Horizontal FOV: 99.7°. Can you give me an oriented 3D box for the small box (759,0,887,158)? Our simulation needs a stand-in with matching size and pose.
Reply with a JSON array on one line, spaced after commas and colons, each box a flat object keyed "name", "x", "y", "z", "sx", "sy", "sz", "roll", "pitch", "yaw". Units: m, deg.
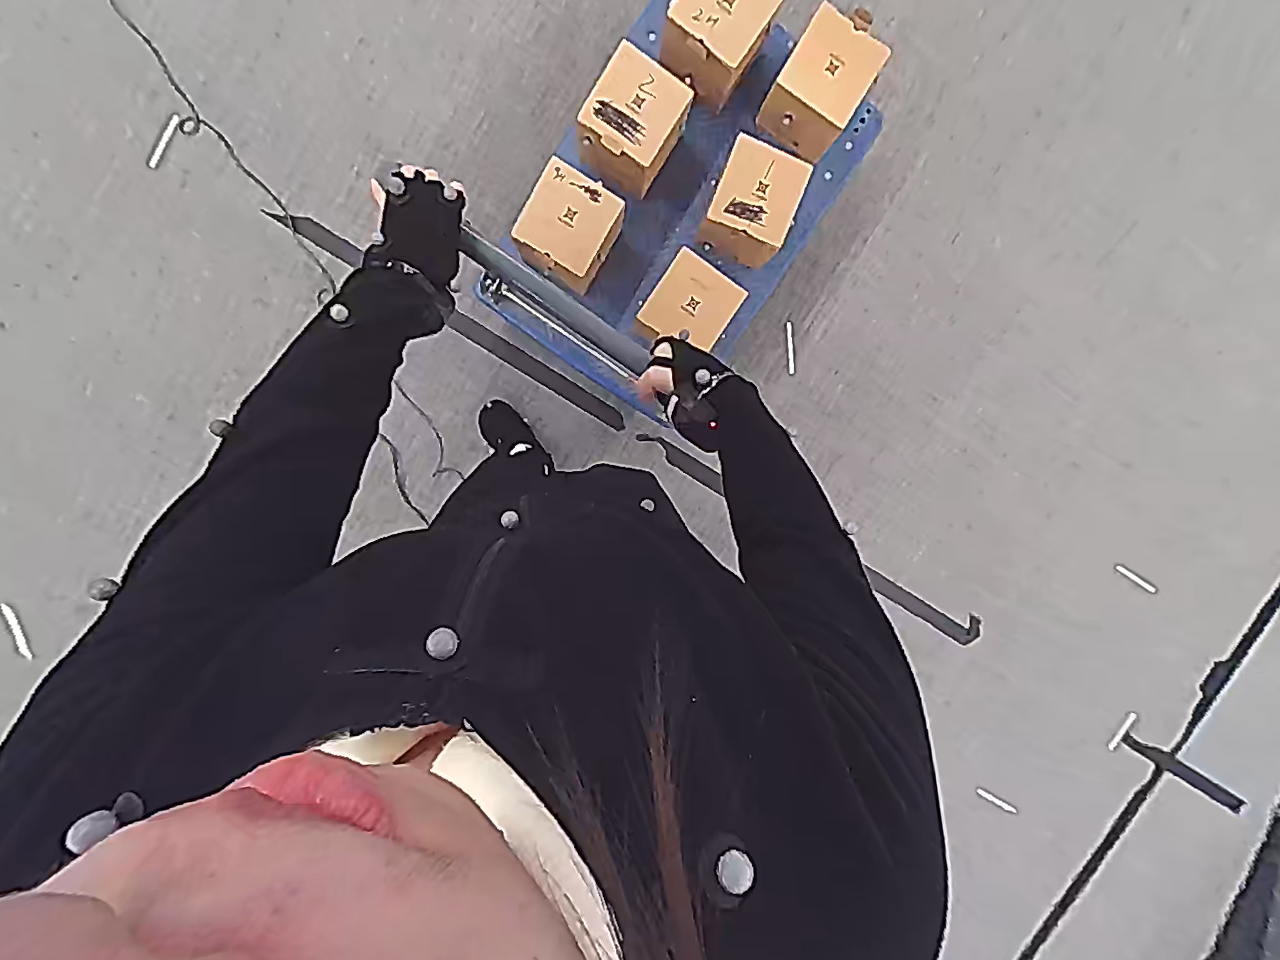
[{"name": "small box", "x": 0.371, "y": -0.828, "z": 1.140, "sx": 0.168, "sy": 0.176, "sz": 0.179, "roll": 31, "pitch": 94, "yaw": -7}]

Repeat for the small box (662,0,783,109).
[{"name": "small box", "x": 0.159, "y": -0.926, "z": 1.110, "sx": 0.168, "sy": 0.176, "sz": 0.179, "roll": 36, "pitch": 95, "yaw": -7}]

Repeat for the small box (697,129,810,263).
[{"name": "small box", "x": 0.232, "y": -0.596, "z": 1.162, "sx": 0.168, "sy": 0.176, "sz": 0.179, "roll": 22, "pitch": 95, "yaw": -7}]

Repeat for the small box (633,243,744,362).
[{"name": "small box", "x": 0.097, "y": -0.376, "z": 1.185, "sx": 0.168, "sy": 0.176, "sz": 0.179, "roll": 34, "pitch": 94, "yaw": -8}]

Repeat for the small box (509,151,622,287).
[{"name": "small box", "x": -0.151, "y": -0.536, "z": 1.143, "sx": 0.168, "sy": 0.176, "sz": 0.179, "roll": 30, "pitch": 95, "yaw": -8}]
